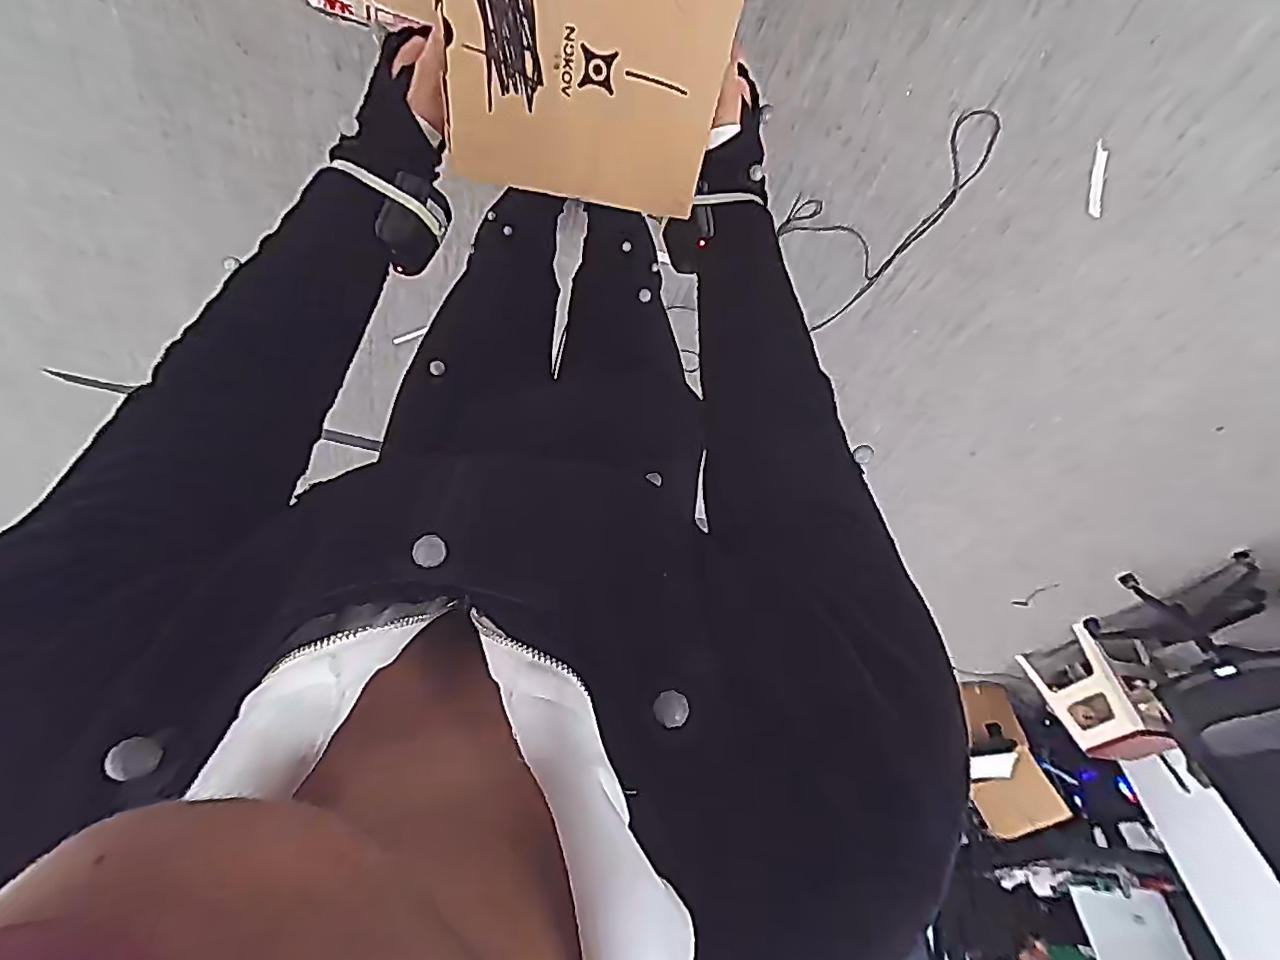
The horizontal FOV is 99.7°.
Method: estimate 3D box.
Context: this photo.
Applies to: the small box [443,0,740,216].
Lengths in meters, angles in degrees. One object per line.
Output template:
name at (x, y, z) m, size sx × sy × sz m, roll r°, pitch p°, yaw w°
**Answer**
small box at (-0.033, -0.326, 0.392) m, size 0.179 × 0.176 × 0.168 m, roll 7°, pitch 141°, yaw -8°
